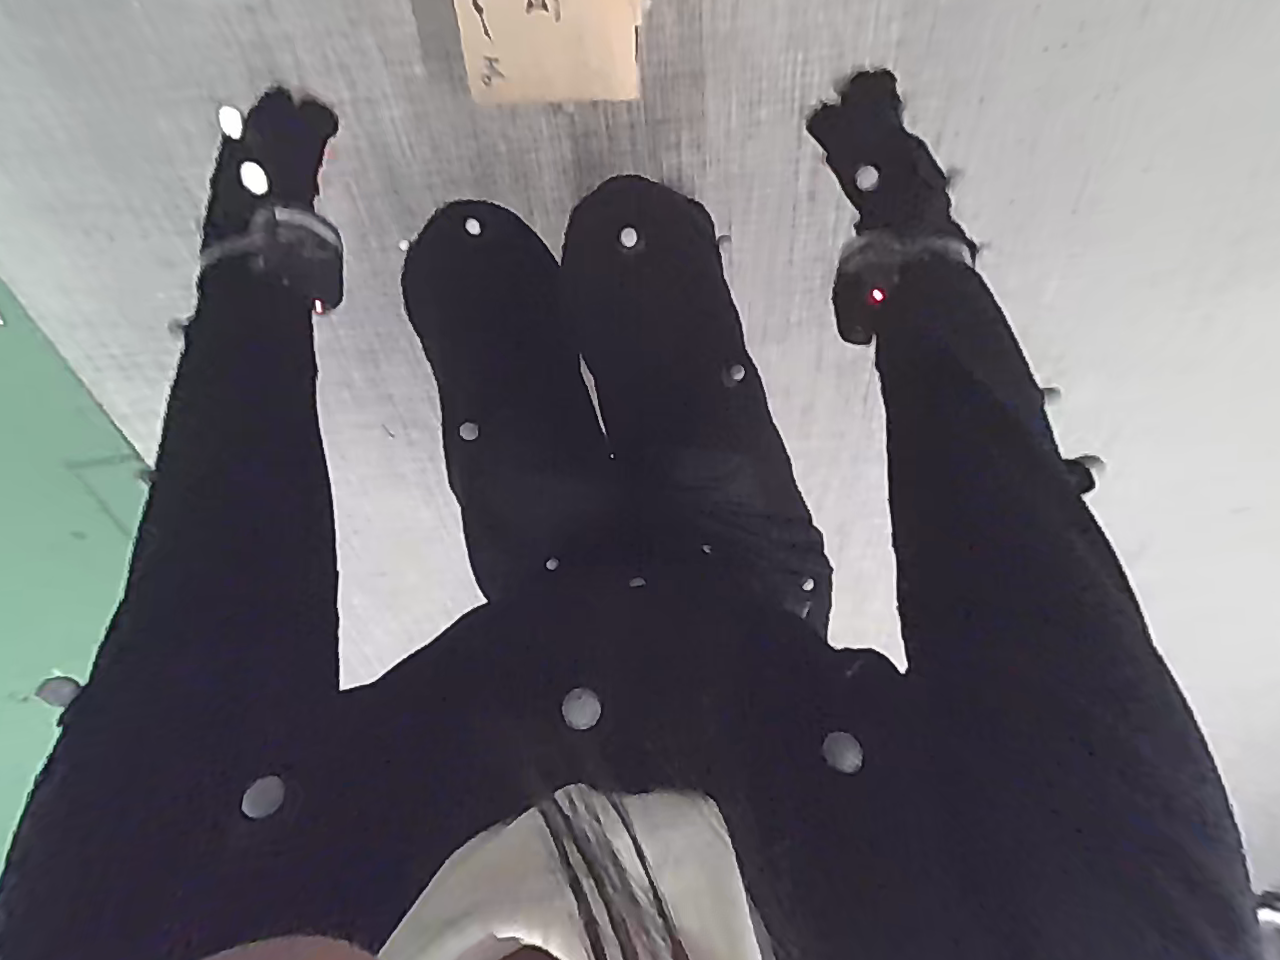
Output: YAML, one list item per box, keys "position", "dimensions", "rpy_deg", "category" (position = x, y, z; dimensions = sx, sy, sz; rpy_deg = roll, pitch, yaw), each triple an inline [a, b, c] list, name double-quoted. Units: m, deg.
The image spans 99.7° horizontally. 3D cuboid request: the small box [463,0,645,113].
- position: [-0.086, -0.506, 0.588]
  dimensions: [0.179, 0.176, 0.168]
  rpy_deg: [-2, 128, 0]
  category: "small box"
